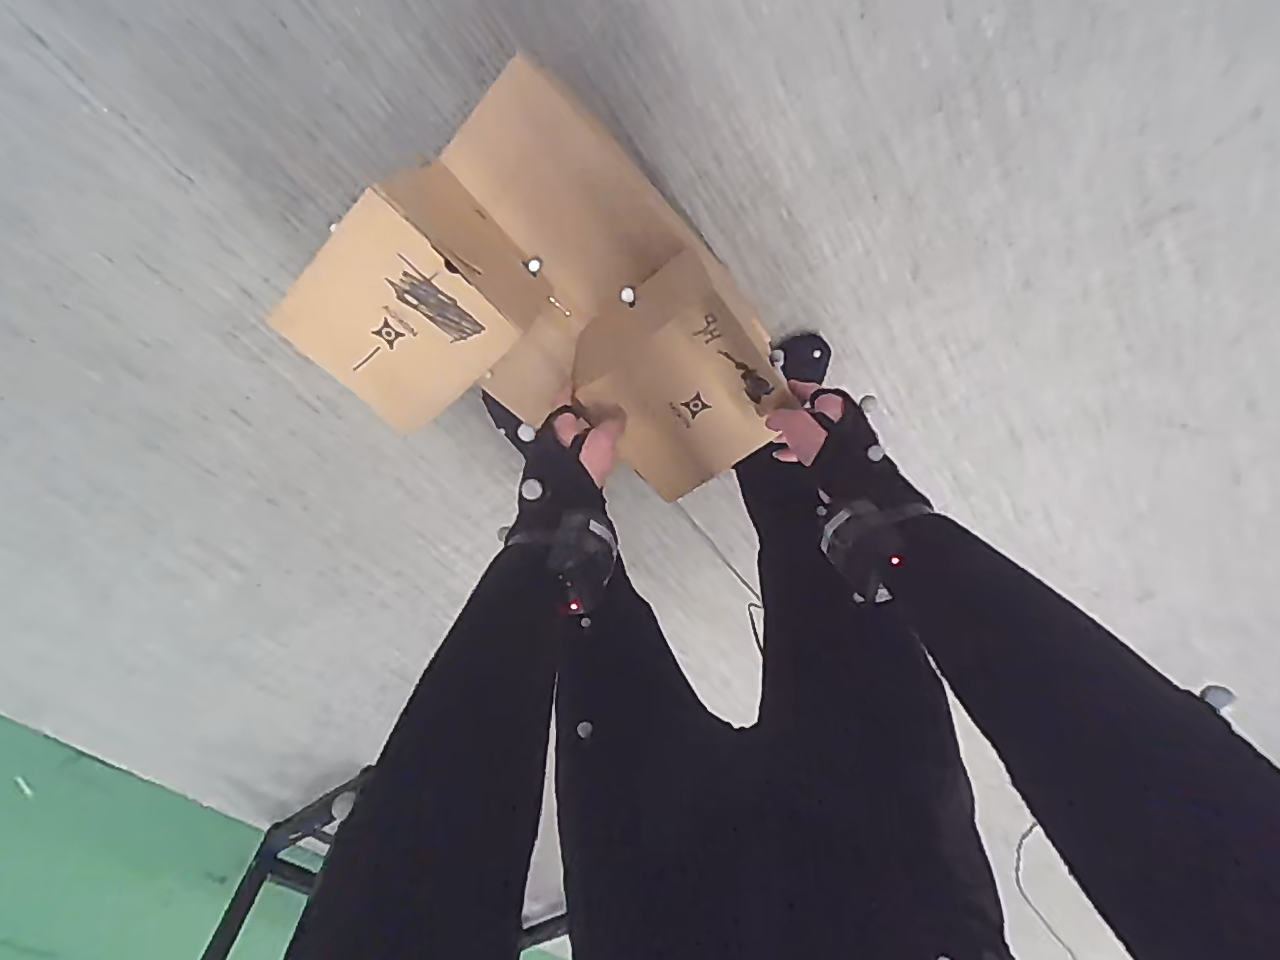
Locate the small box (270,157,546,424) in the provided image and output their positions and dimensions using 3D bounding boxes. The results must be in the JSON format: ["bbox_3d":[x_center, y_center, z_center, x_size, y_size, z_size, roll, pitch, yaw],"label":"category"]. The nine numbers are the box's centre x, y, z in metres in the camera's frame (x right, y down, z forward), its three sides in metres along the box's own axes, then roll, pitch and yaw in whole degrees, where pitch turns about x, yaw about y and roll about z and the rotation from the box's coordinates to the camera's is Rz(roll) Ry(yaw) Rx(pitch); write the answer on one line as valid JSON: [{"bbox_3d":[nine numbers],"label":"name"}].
[{"bbox_3d":[-0.213,-0.197,0.549,0.179,0.176,0.168,-34,116,22],"label":"small box"}]
